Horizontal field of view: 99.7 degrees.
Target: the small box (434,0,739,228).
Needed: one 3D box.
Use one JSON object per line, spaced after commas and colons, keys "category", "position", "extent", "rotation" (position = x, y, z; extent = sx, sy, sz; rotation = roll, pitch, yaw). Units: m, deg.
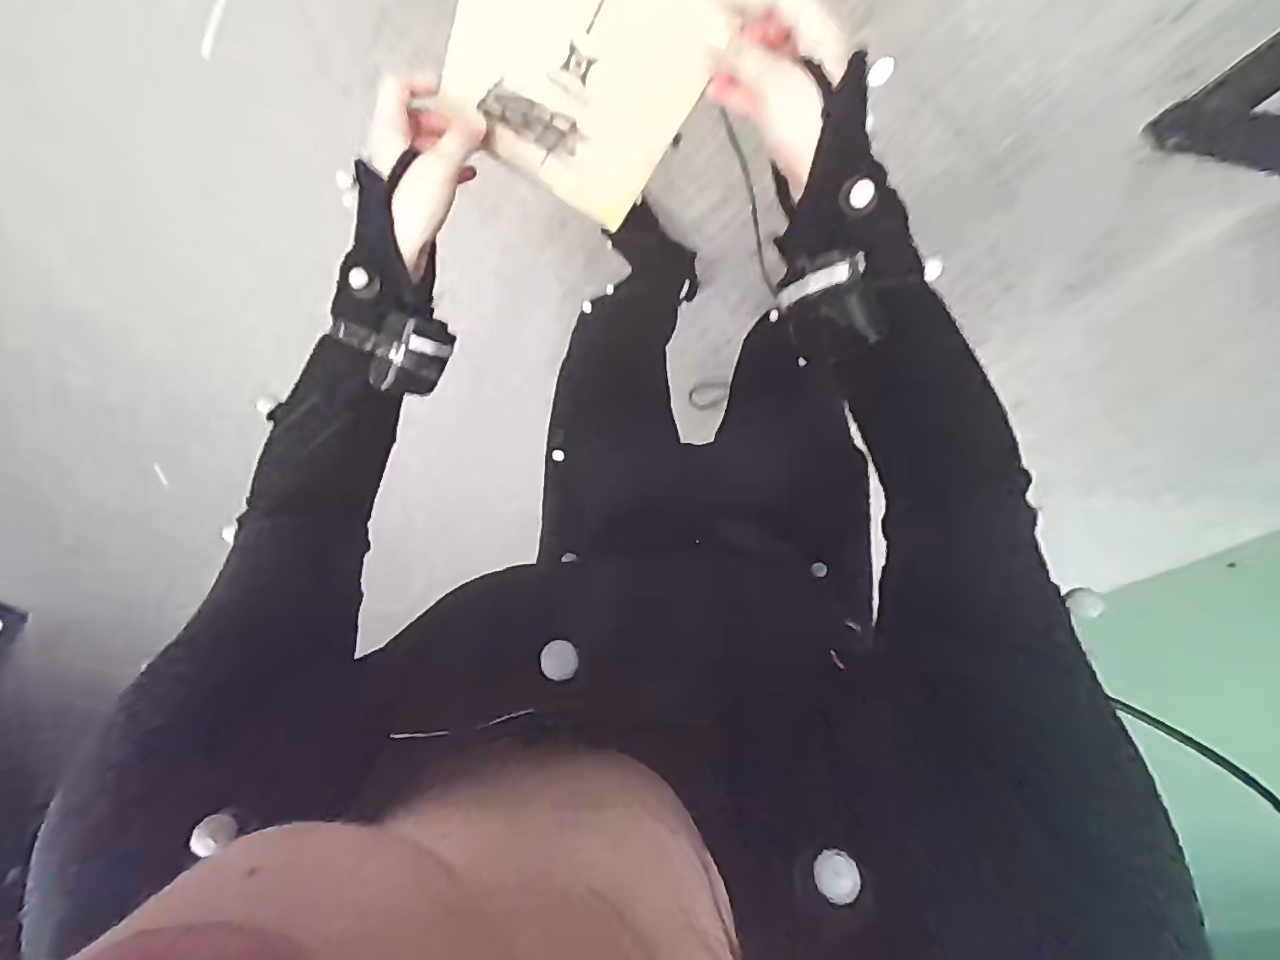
{"category": "small box", "position": [-0.033, -0.350, 0.420], "extent": [0.168, 0.176, 0.179], "rotation": [27, 145, -19]}
